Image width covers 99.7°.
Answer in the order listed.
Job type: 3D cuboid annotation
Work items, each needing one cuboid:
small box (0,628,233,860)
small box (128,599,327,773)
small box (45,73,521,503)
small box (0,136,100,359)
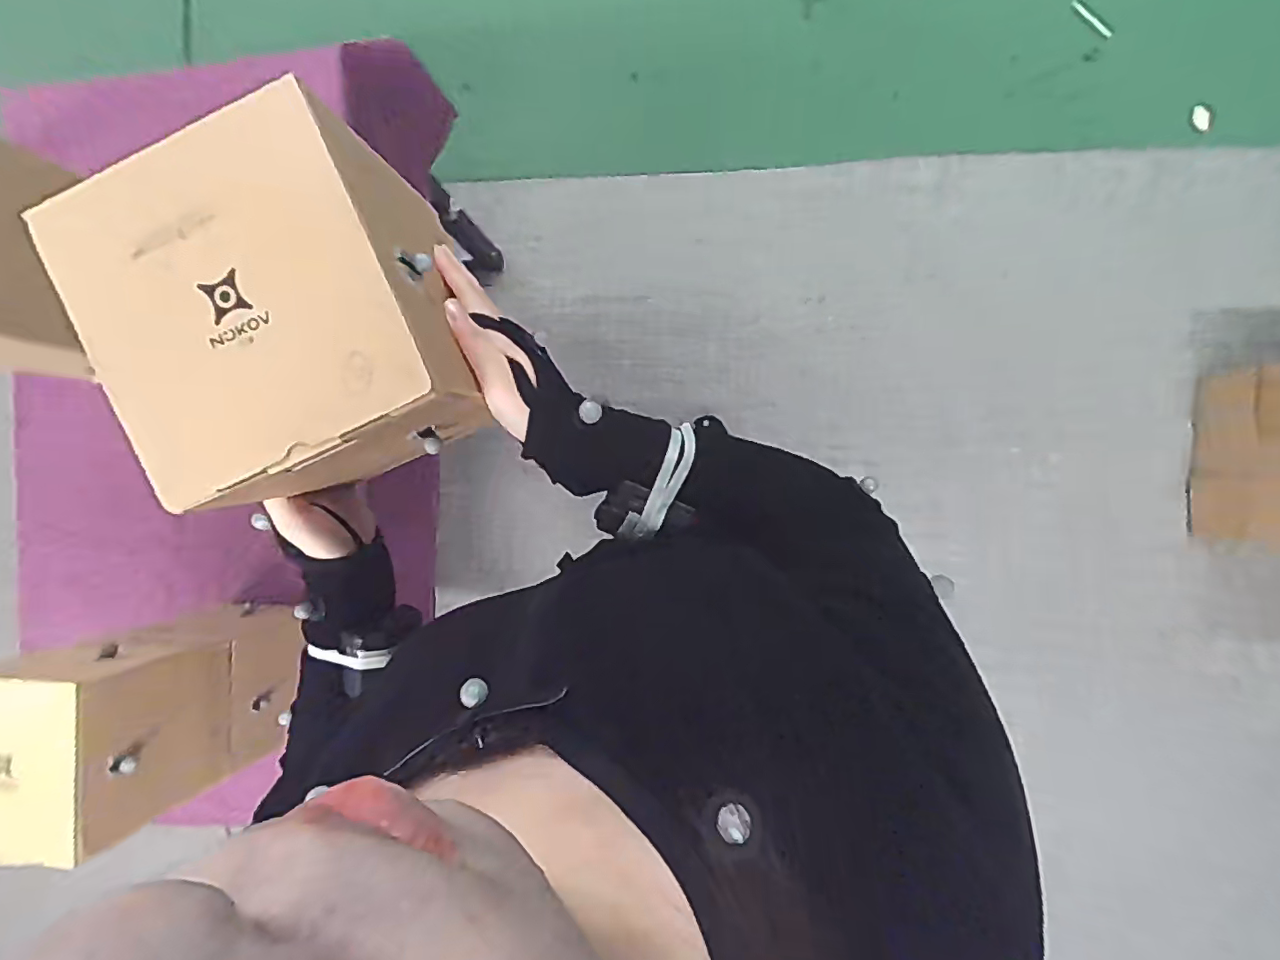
[{"bbox_3d":[-0.590,0.271,0.596,0.168,0.176,0.179,0,91,7],"label":"small box"},{"bbox_3d":[-0.570,0.276,0.758,0.168,0.176,0.179,0,90,6],"label":"small box"},{"bbox_3d":[-0.199,-0.103,0.360,0.168,0.176,0.179,-21,93,5],"label":"small box"},{"bbox_3d":[-0.594,-0.192,0.430,0.179,0.176,0.168,-3,90,8],"label":"small box"}]
